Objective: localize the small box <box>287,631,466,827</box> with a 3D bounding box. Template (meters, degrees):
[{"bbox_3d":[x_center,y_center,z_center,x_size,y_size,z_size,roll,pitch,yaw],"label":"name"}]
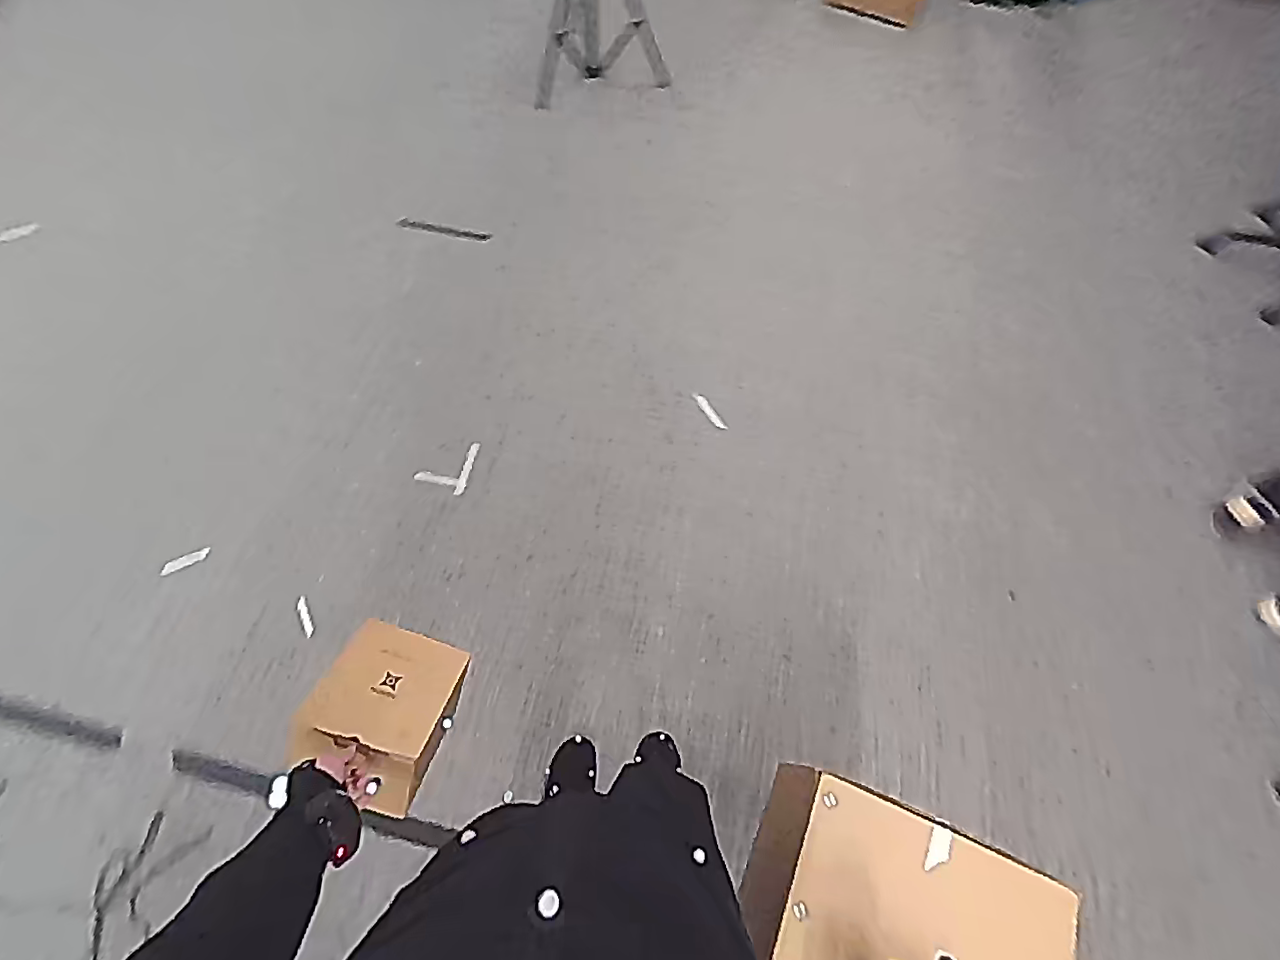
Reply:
[{"bbox_3d":[-0.372,0.359,0.779,0.168,0.176,0.179,20,31,-6],"label":"small box"}]
